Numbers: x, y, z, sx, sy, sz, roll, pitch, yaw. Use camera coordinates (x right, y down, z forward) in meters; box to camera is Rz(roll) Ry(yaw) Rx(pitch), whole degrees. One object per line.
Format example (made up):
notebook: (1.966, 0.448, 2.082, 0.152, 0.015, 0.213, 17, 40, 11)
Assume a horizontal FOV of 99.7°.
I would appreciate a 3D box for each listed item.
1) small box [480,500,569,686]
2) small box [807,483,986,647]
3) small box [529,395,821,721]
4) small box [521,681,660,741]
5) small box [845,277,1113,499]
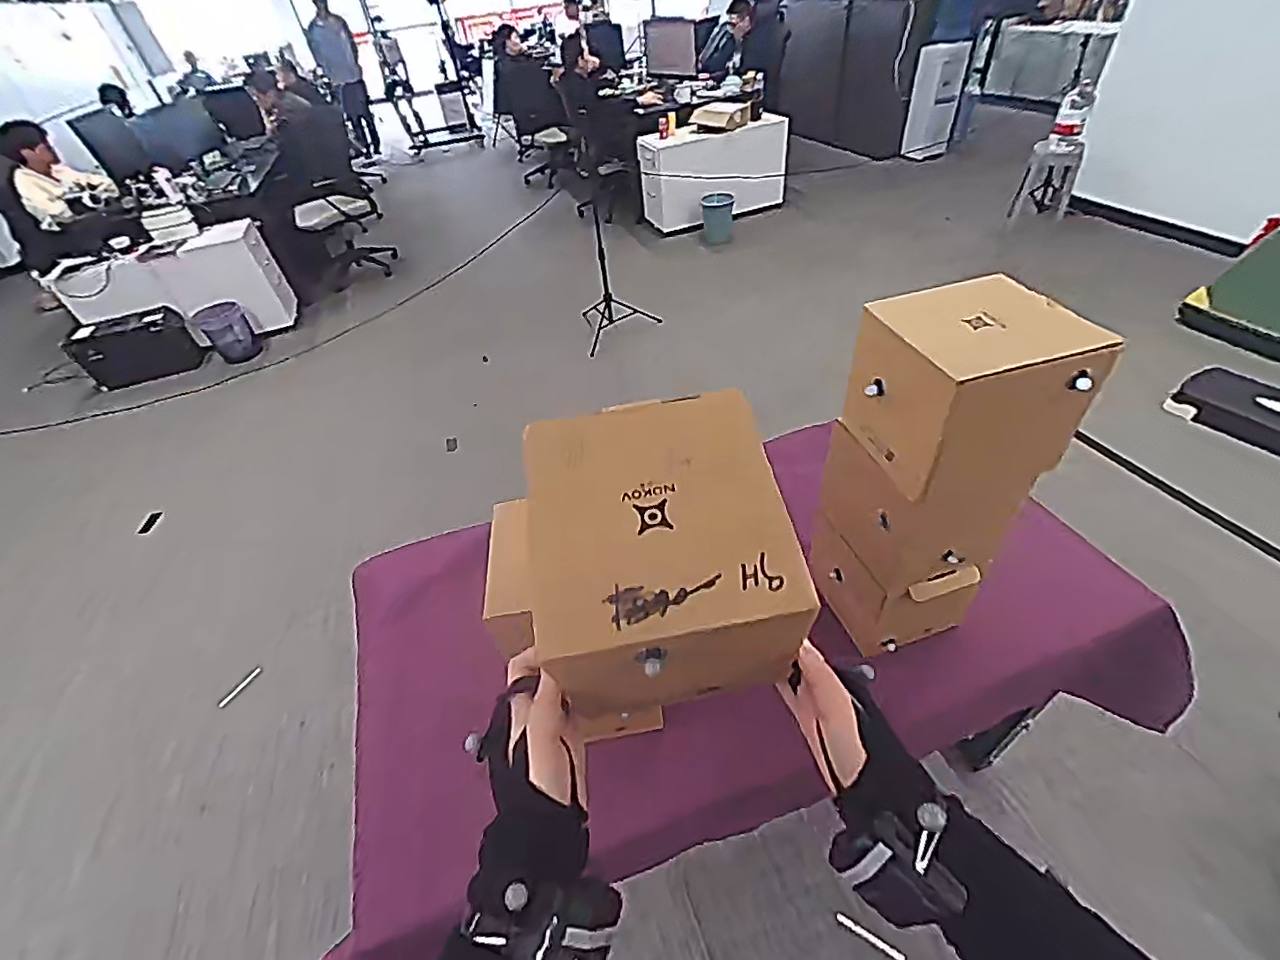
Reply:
small box: (-0.080, 0.133, 0.665, 0.179, 0.176, 0.168, -9, 44, -2)
small box: (0.377, 0.133, 0.831, 0.168, 0.176, 0.179, -16, 43, -8)
small box: (0.017, 0.065, 0.415, 0.168, 0.176, 0.179, -11, 56, -1)
small box: (-0.069, 0.254, 0.776, 0.168, 0.176, 0.179, -10, 43, -3)
small box: (0.349, -0.100, 0.605, 0.179, 0.176, 0.168, -14, 44, -6)
